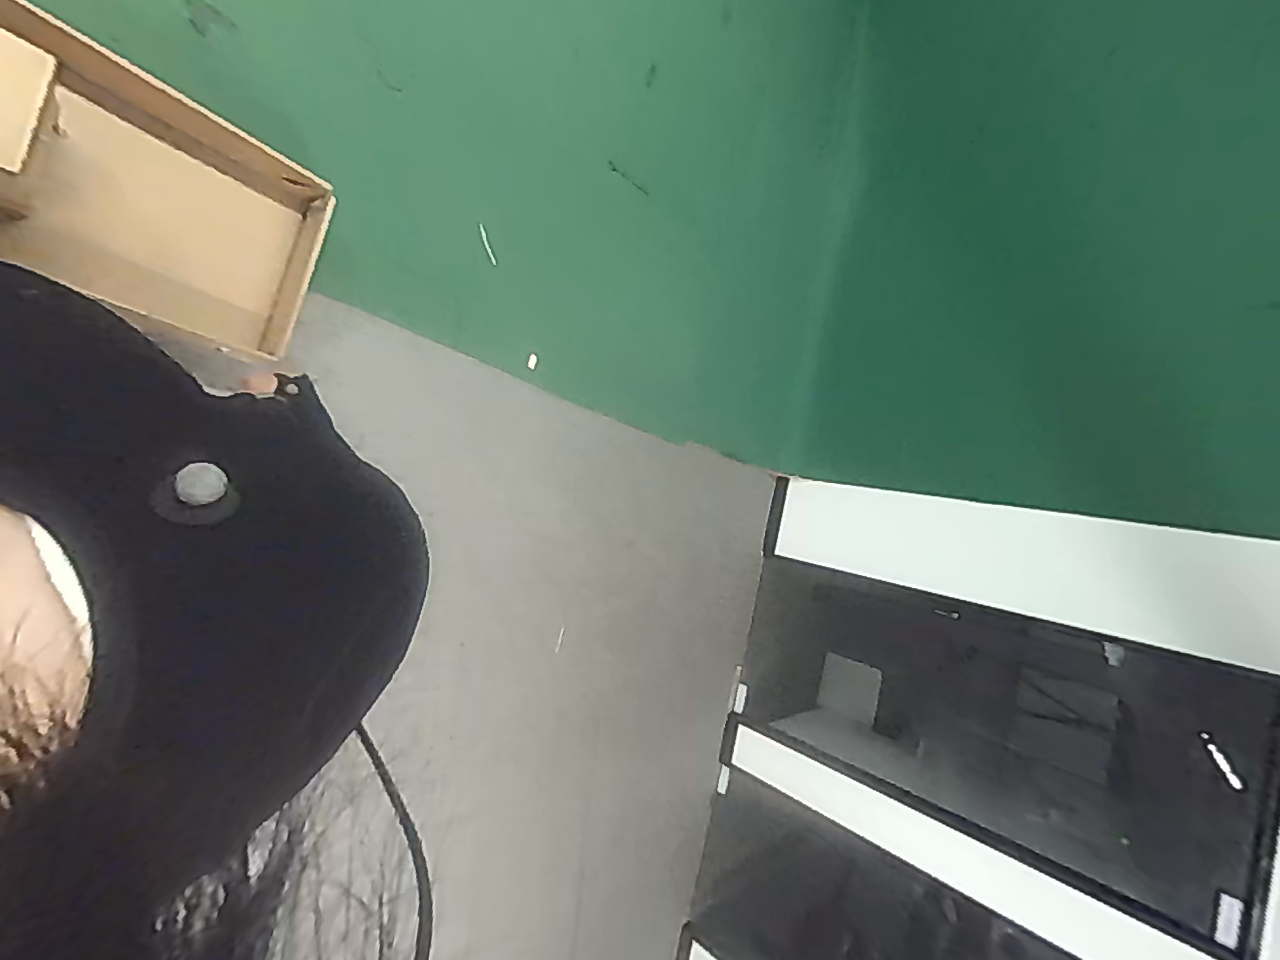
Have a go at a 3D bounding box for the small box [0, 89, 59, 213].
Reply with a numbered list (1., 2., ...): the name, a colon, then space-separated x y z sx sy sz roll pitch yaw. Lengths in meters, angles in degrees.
1. small box: -1.035 -0.545 0.827 0.168 0.176 0.179 16 86 -49

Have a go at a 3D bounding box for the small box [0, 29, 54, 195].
1. small box: -0.919 -0.512 0.714 0.168 0.176 0.179 19 83 -49
